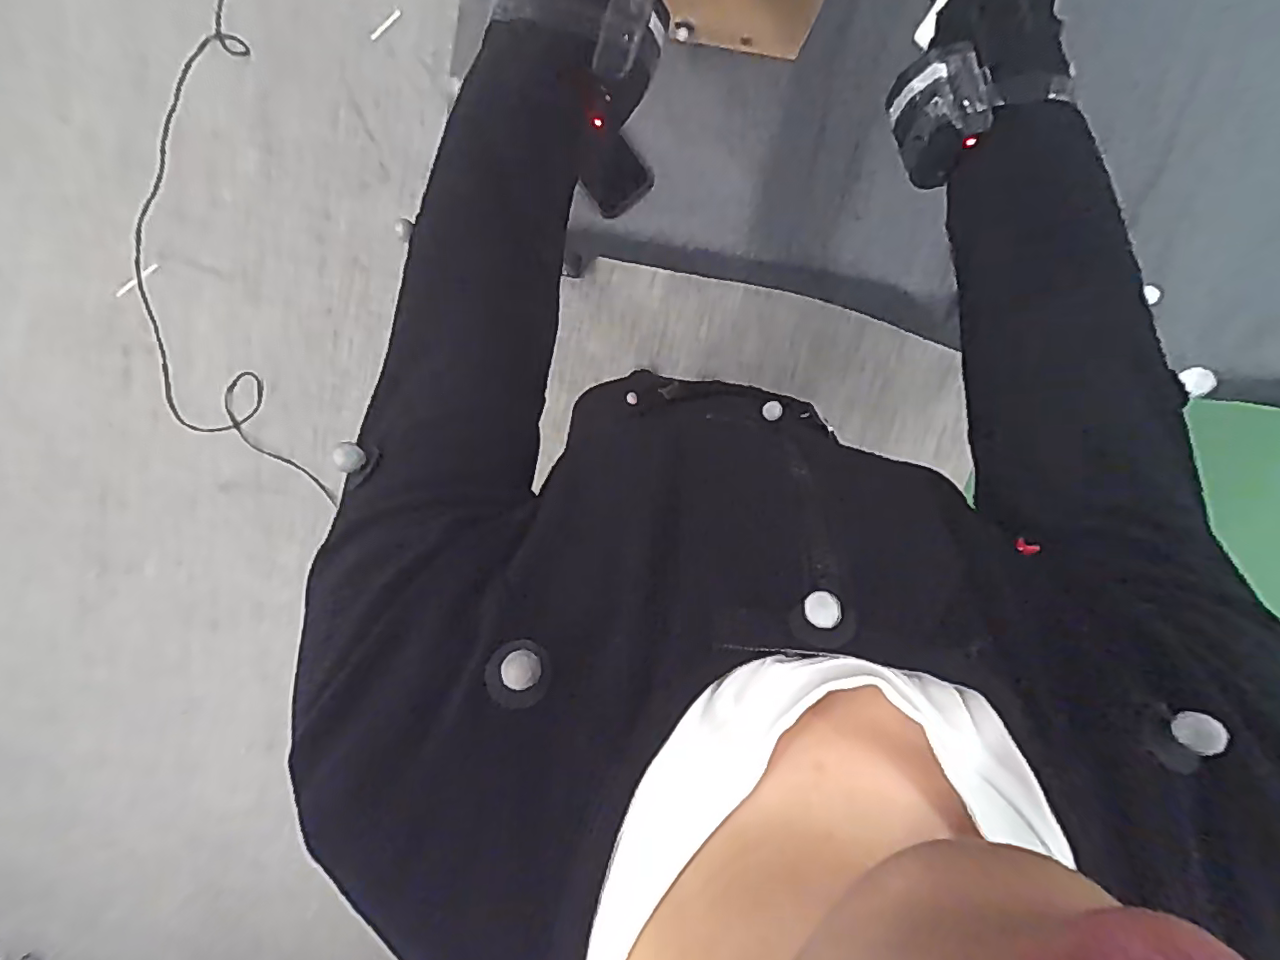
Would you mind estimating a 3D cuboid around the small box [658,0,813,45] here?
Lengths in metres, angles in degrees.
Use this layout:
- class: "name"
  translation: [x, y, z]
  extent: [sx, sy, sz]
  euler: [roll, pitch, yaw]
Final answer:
- class: "small box"
  translation: [0.108, -0.570, 0.522]
  extent: [0.168, 0.176, 0.179]
  euler: [8, 102, -2]
